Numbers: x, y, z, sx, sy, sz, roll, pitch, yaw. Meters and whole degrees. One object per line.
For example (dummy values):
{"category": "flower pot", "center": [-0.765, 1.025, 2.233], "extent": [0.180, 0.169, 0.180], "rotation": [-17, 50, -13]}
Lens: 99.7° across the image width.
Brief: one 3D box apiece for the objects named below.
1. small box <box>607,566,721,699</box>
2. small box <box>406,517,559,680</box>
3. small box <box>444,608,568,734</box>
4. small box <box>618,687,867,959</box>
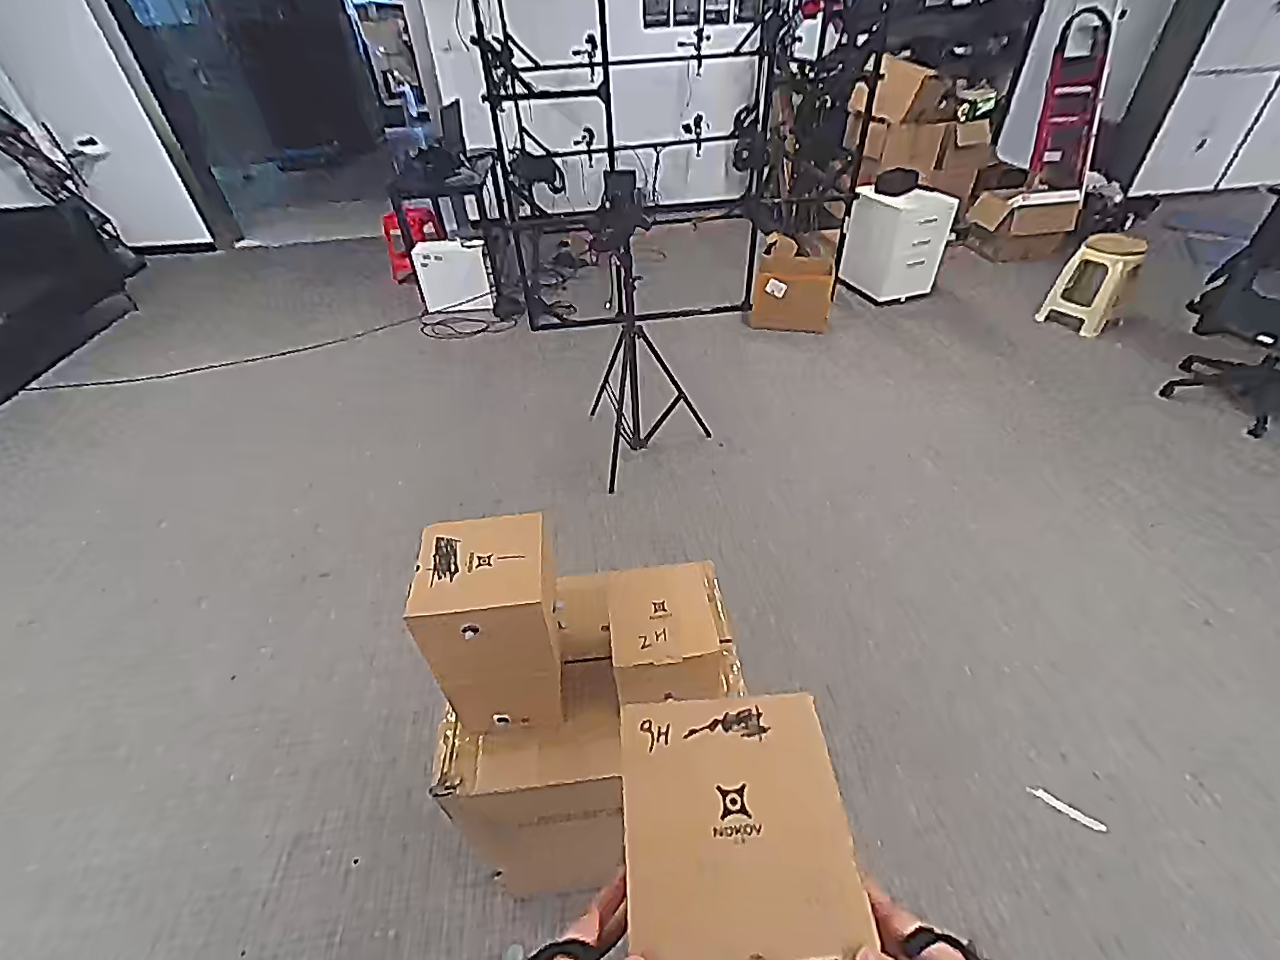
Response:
{"category": "small box", "center": [0.036, 0.275, 0.923], "extent": [0.168, 0.176, 0.179], "rotation": [-8, 42, -2]}
{"category": "small box", "center": [-0.219, 0.178, 0.804], "extent": [0.179, 0.176, 0.168], "rotation": [-6, 42, -5]}
{"category": "small box", "center": [-0.215, 0.300, 0.914], "extent": [0.168, 0.176, 0.179], "rotation": [-7, 43, -3]}
{"category": "small box", "center": [0.070, 0.302, 0.470], "extent": [0.168, 0.176, 0.179], "rotation": [-4, 47, -1]}
